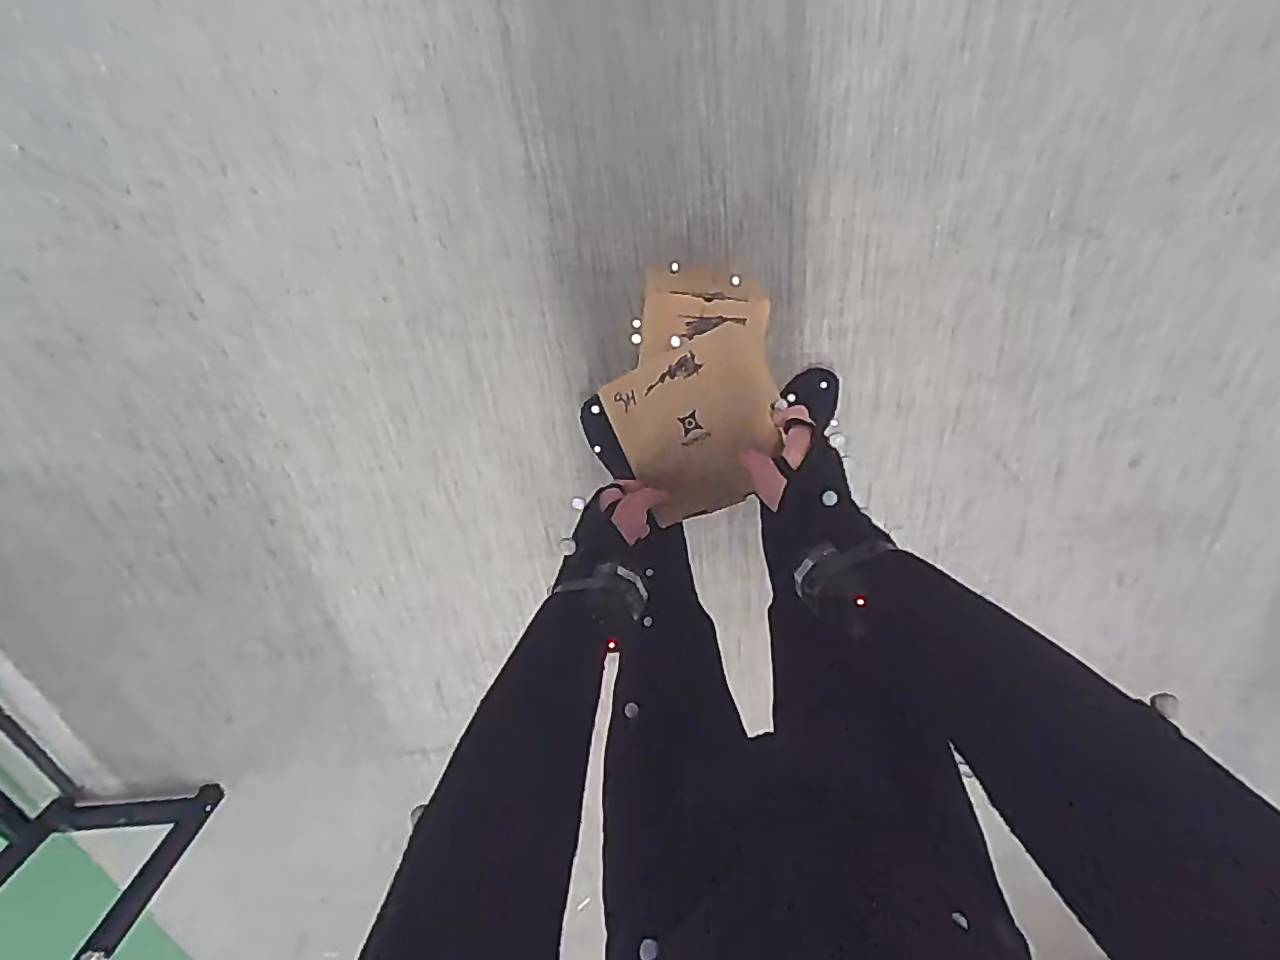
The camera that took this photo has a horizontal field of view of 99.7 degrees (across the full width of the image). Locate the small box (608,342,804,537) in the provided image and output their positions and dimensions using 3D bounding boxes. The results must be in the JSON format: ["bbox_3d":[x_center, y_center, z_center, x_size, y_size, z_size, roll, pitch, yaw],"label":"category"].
[{"bbox_3d":[0.092,-0.056,0.662,0.168,0.176,0.179,-23,94,22],"label":"small box"}]

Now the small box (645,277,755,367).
[{"bbox_3d":[0.098,-0.258,0.966,0.168,0.176,0.179,6,118,0],"label":"small box"}]

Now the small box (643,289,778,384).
[{"bbox_3d":[0.094,-0.184,0.819,0.168,0.176,0.179,7,117,-1],"label":"small box"}]
